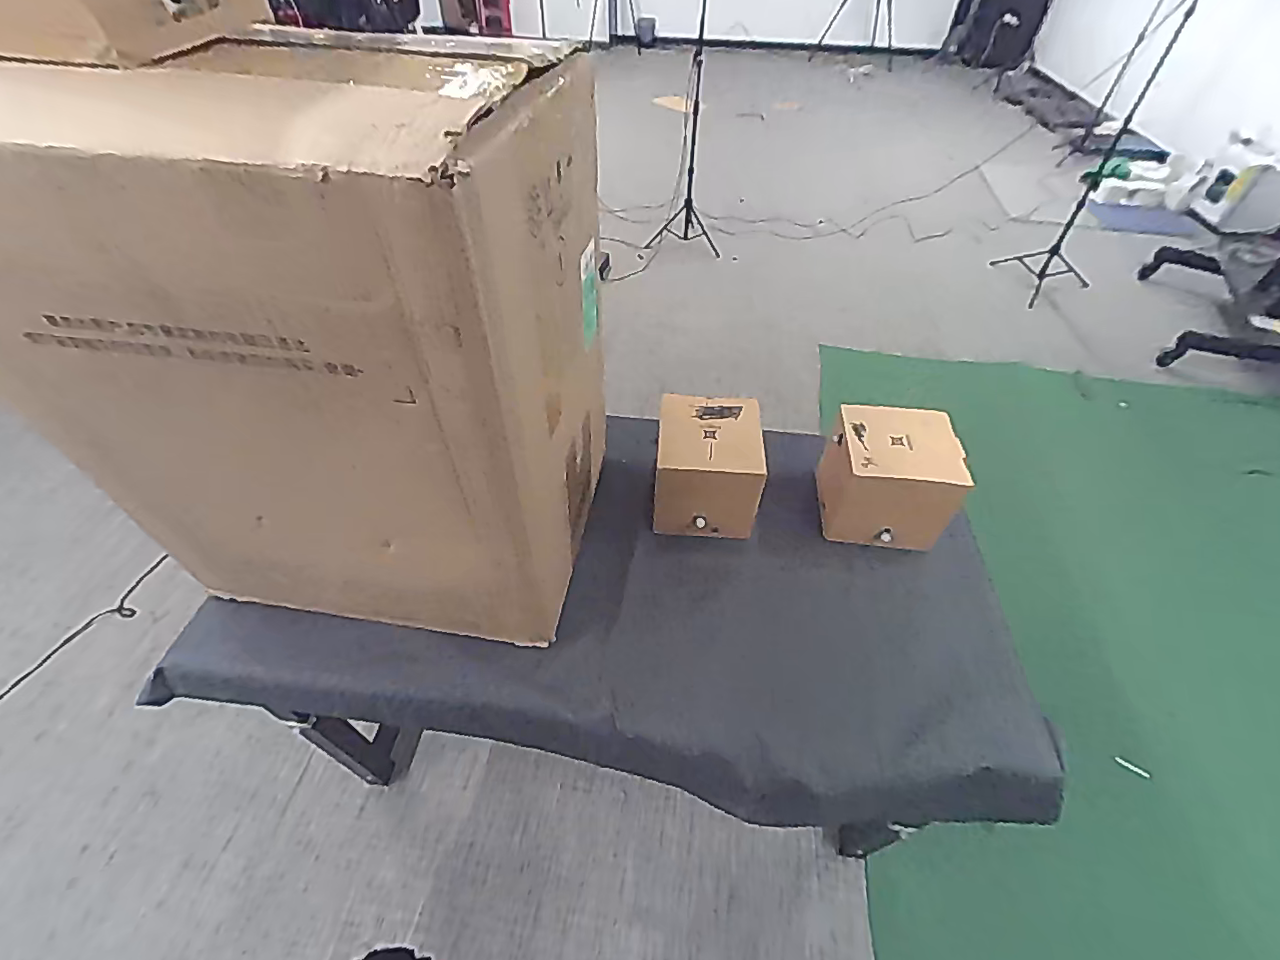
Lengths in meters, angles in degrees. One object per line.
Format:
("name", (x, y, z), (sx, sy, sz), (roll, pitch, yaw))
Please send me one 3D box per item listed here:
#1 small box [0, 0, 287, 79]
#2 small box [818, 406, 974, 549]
("small box", (-0.427, -0.433, 0.411), (0.179, 0.176, 0.168), (13, 54, 8))
("small box", (0.417, 0.000, 0.913), (0.179, 0.176, 0.168), (6, 48, 4))
